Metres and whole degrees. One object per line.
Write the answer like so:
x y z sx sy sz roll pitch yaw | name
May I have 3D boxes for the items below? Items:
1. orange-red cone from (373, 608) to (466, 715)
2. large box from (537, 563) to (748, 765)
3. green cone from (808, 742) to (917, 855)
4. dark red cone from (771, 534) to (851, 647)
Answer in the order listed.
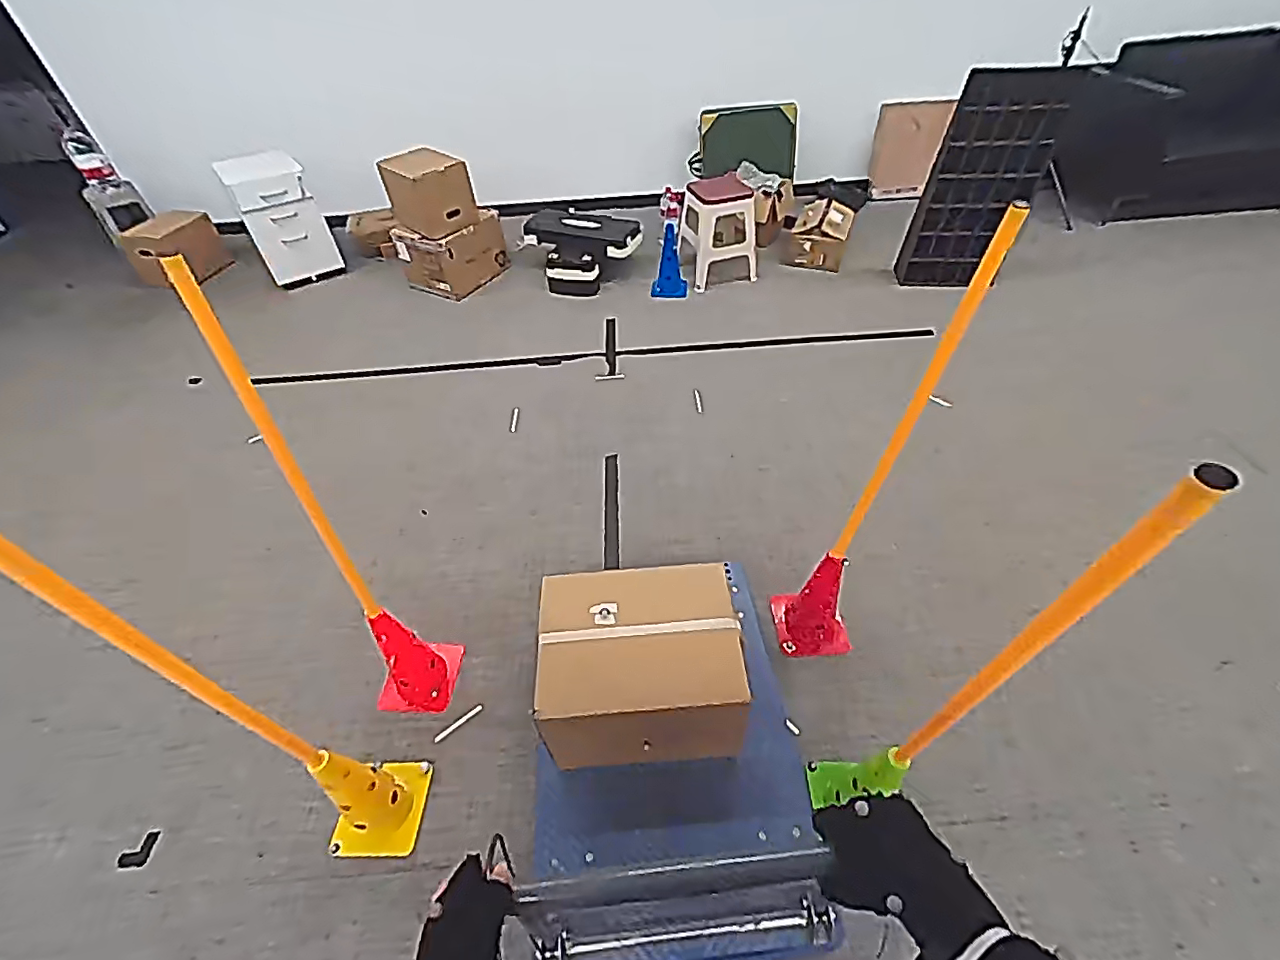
-0.622 0.447 1.430 0.198 0.360 0.199 2 45 4 | orange-red cone
0.004 0.417 1.212 0.408 0.320 0.320 -5 46 0 | large box
0.507 0.648 1.154 0.202 0.368 0.200 -1 46 2 | green cone
0.500 0.287 1.479 0.201 0.394 0.202 -3 46 -2 | dark red cone
